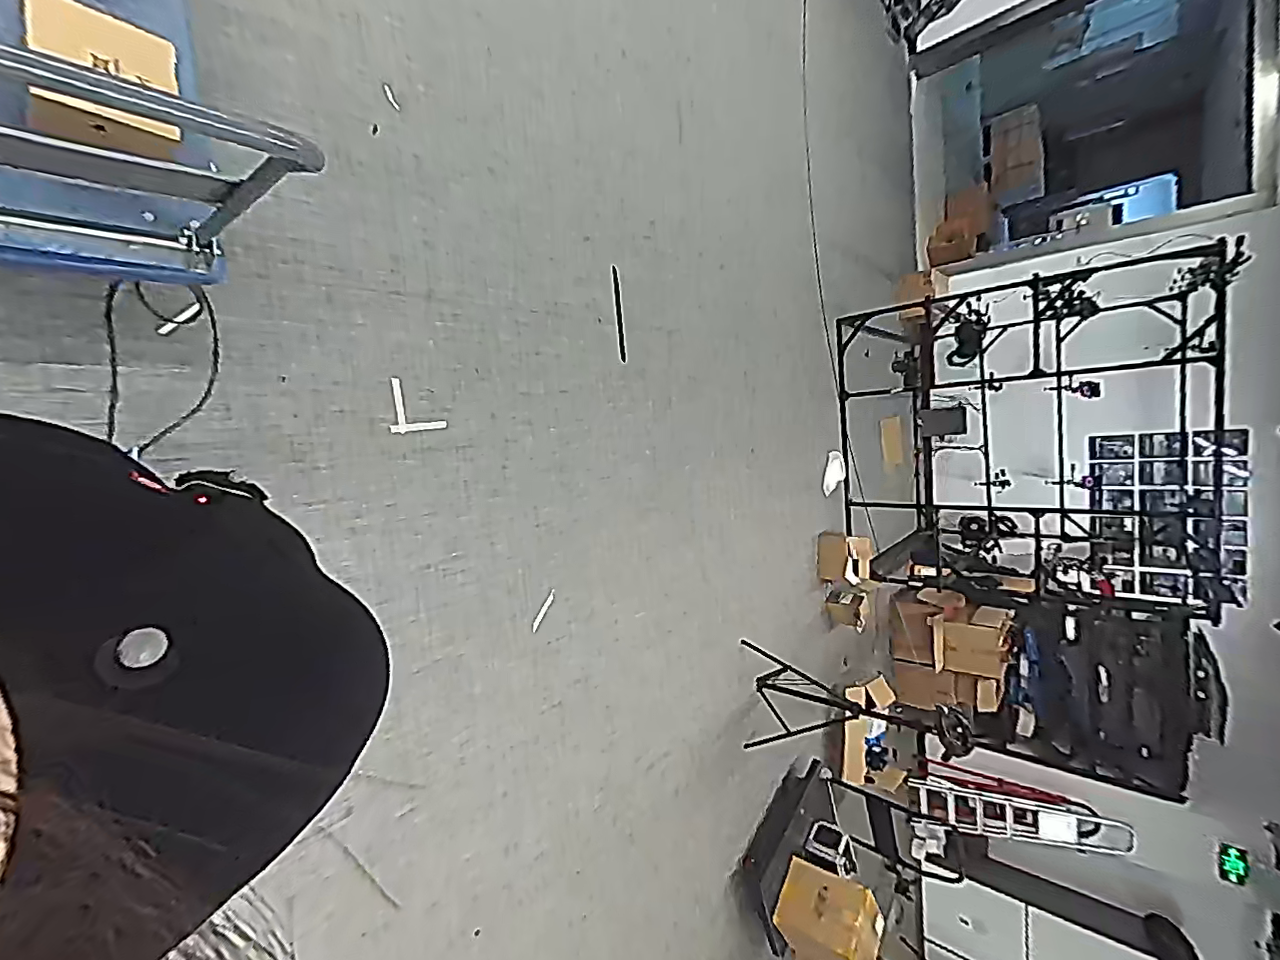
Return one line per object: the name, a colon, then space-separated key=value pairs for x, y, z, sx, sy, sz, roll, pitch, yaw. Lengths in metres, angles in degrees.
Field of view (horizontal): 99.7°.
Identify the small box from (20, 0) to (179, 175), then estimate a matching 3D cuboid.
small box: x=-0.915 y=-0.654 z=0.919 sx=0.179 sy=0.176 sz=0.168 roll=-4 pitch=94 yaw=-49
